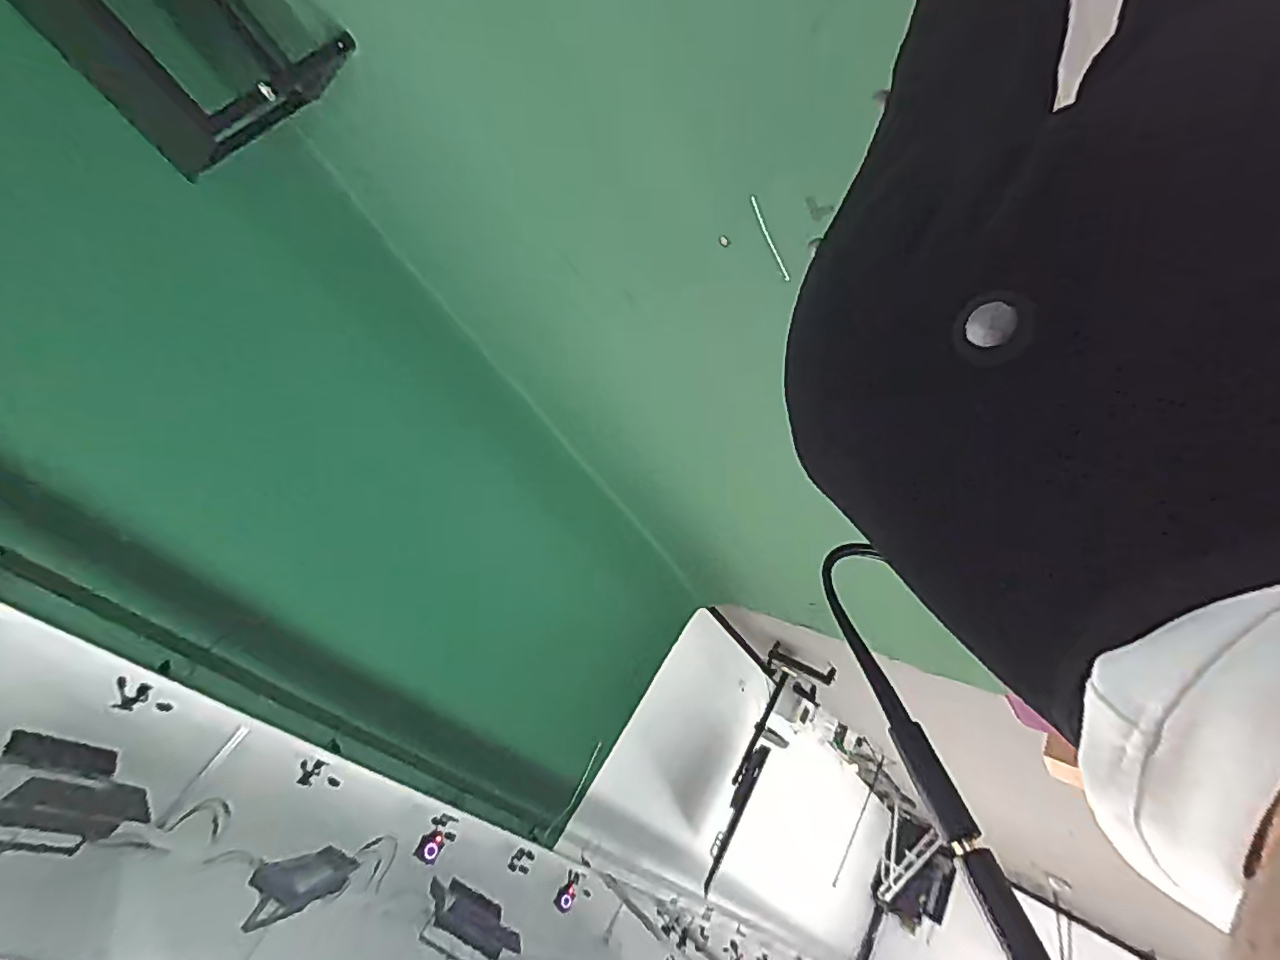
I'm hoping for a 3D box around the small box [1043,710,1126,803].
[{"bbox_3d":[1.362,0.840,1.652,0.168,0.176,0.179,6,144,48],"label":"small box"}]
